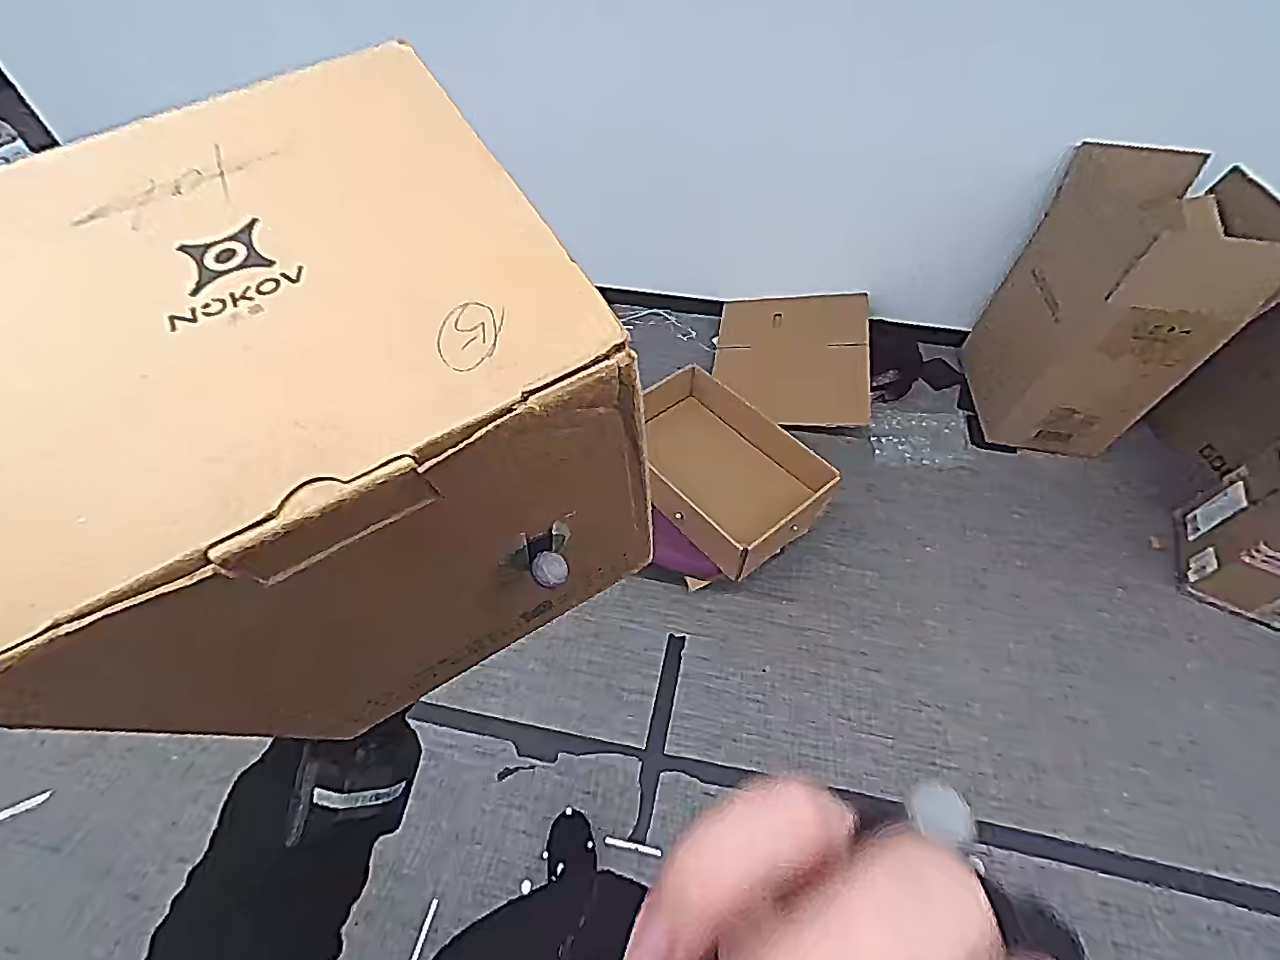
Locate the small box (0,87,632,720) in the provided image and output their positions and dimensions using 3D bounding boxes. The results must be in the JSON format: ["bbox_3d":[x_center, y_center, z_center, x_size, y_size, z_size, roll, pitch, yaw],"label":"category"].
[{"bbox_3d":[-0.114,-0.017,0.236,0.168,0.176,0.179,-29,65,-12],"label":"small box"}]
